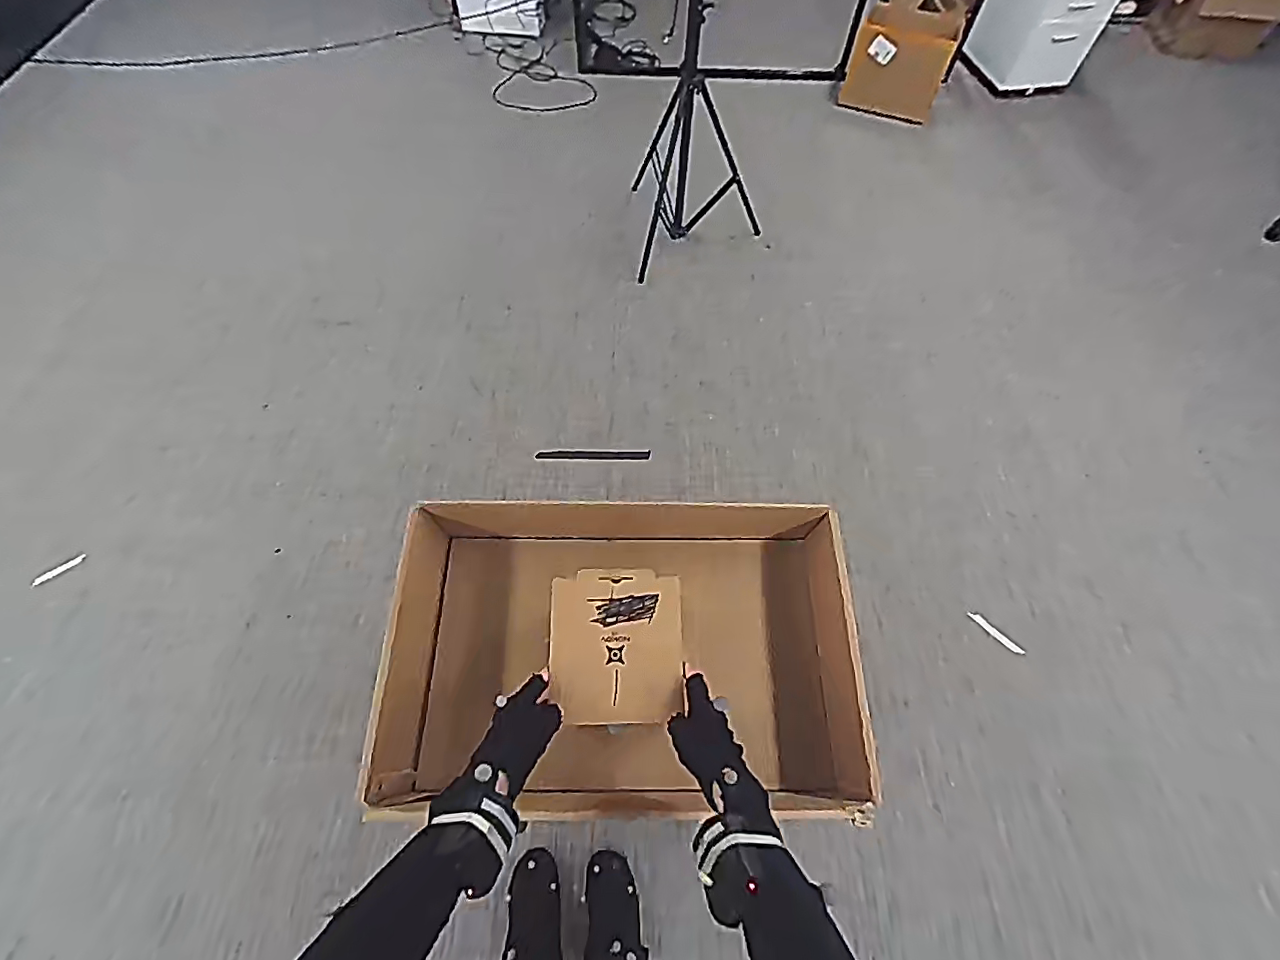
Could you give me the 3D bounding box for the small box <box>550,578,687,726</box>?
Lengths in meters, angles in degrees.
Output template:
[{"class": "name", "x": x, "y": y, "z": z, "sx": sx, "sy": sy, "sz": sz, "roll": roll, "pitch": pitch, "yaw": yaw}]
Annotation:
[{"class": "small box", "x": -0.029, "y": 0.240, "z": 0.743, "sx": 0.168, "sy": 0.176, "sz": 0.179, "roll": -1, "pitch": 68, "yaw": -1}]
